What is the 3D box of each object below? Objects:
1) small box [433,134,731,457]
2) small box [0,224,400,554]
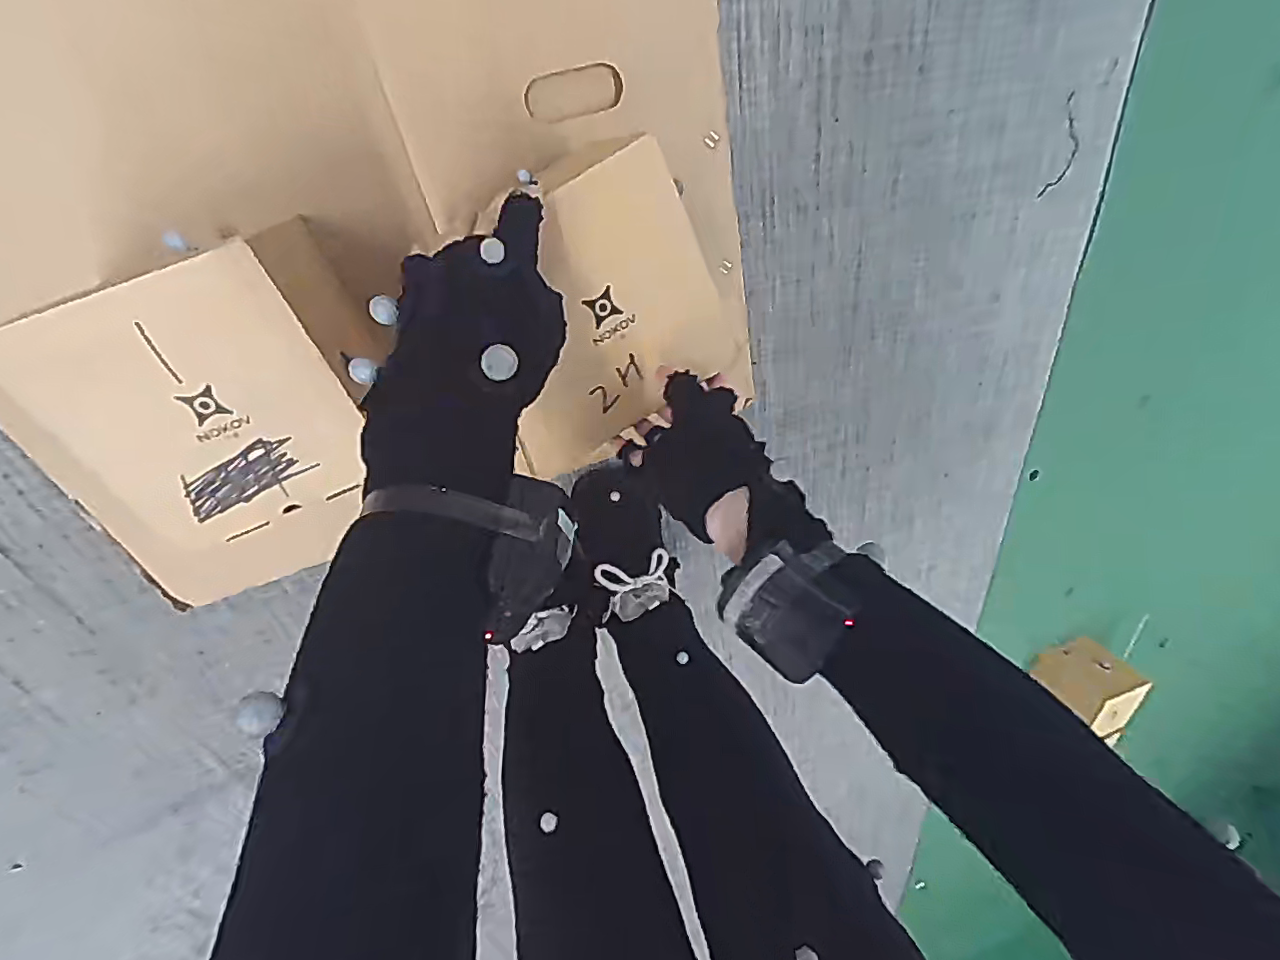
[{"bbox_3d":[-0.054,-0.157,0.457,0.168,0.176,0.179,-31,124,-1],"label":"small box"},{"bbox_3d":[-0.309,-0.081,0.426,0.168,0.176,0.179,-24,124,-7],"label":"small box"}]
